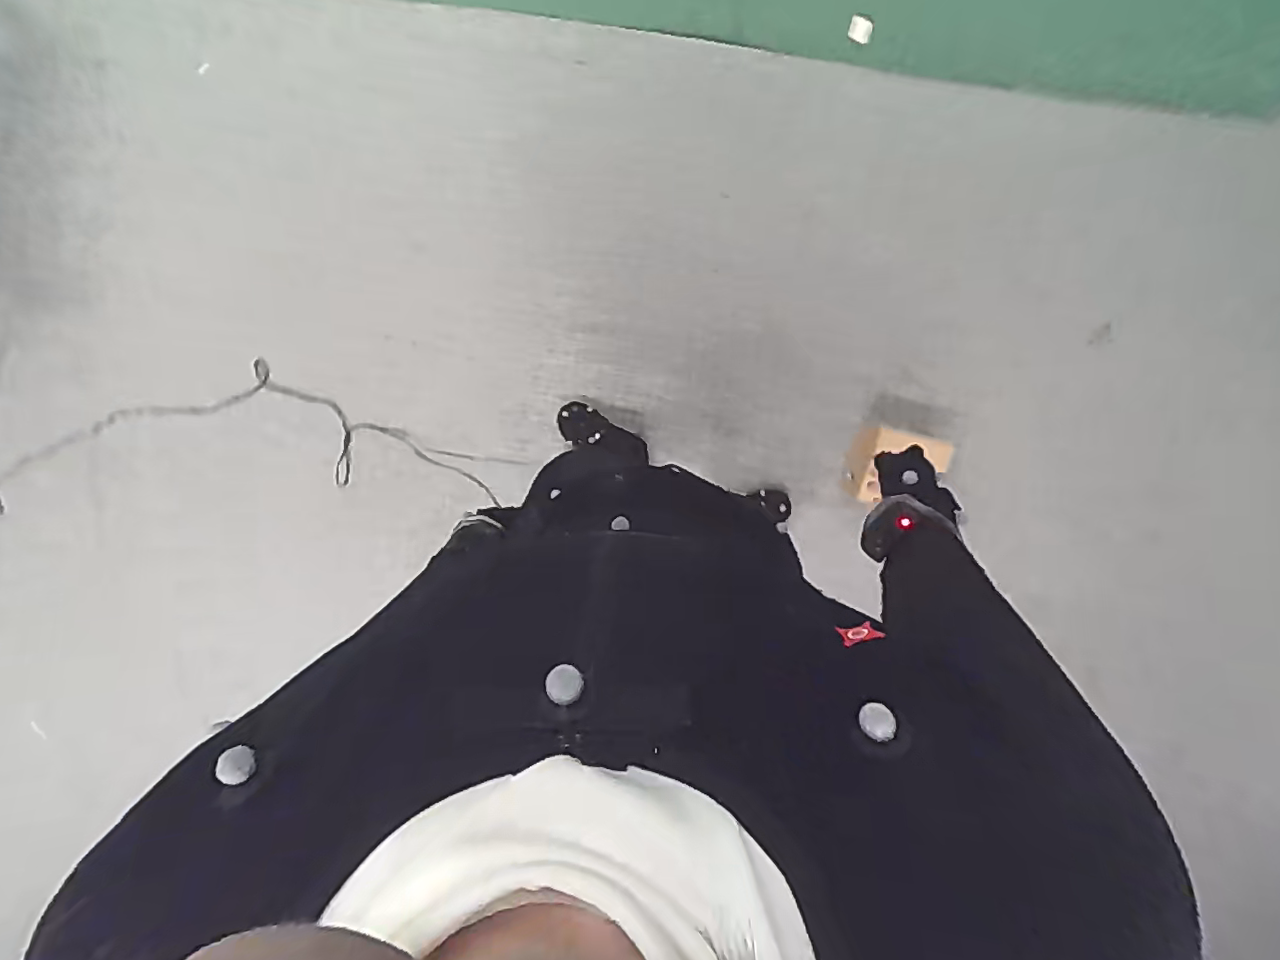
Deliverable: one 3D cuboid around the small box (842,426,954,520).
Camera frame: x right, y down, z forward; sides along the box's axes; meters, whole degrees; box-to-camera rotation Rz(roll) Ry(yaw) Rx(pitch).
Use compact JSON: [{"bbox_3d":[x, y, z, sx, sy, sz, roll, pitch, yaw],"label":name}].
[{"bbox_3d":[0.597,-0.023,1.280,0.168,0.176,0.179,16,98,3],"label":"small box"}]
